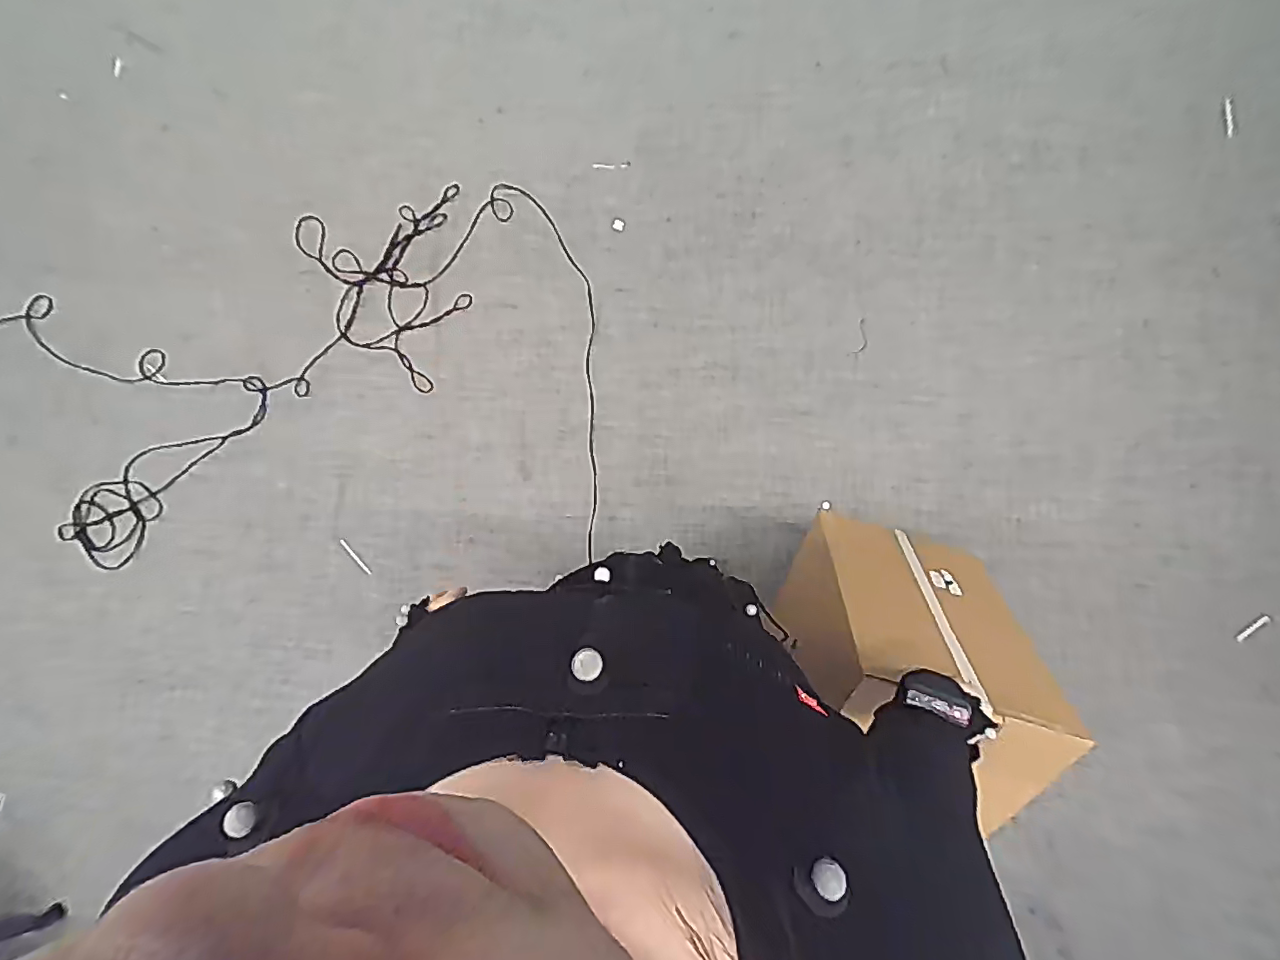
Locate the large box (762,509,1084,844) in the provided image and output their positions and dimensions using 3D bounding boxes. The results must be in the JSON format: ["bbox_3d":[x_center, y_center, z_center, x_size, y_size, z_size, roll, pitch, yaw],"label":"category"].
[{"bbox_3d":[0.417,0.315,0.935,0.320,0.408,0.320,17,120,0],"label":"large box"}]
